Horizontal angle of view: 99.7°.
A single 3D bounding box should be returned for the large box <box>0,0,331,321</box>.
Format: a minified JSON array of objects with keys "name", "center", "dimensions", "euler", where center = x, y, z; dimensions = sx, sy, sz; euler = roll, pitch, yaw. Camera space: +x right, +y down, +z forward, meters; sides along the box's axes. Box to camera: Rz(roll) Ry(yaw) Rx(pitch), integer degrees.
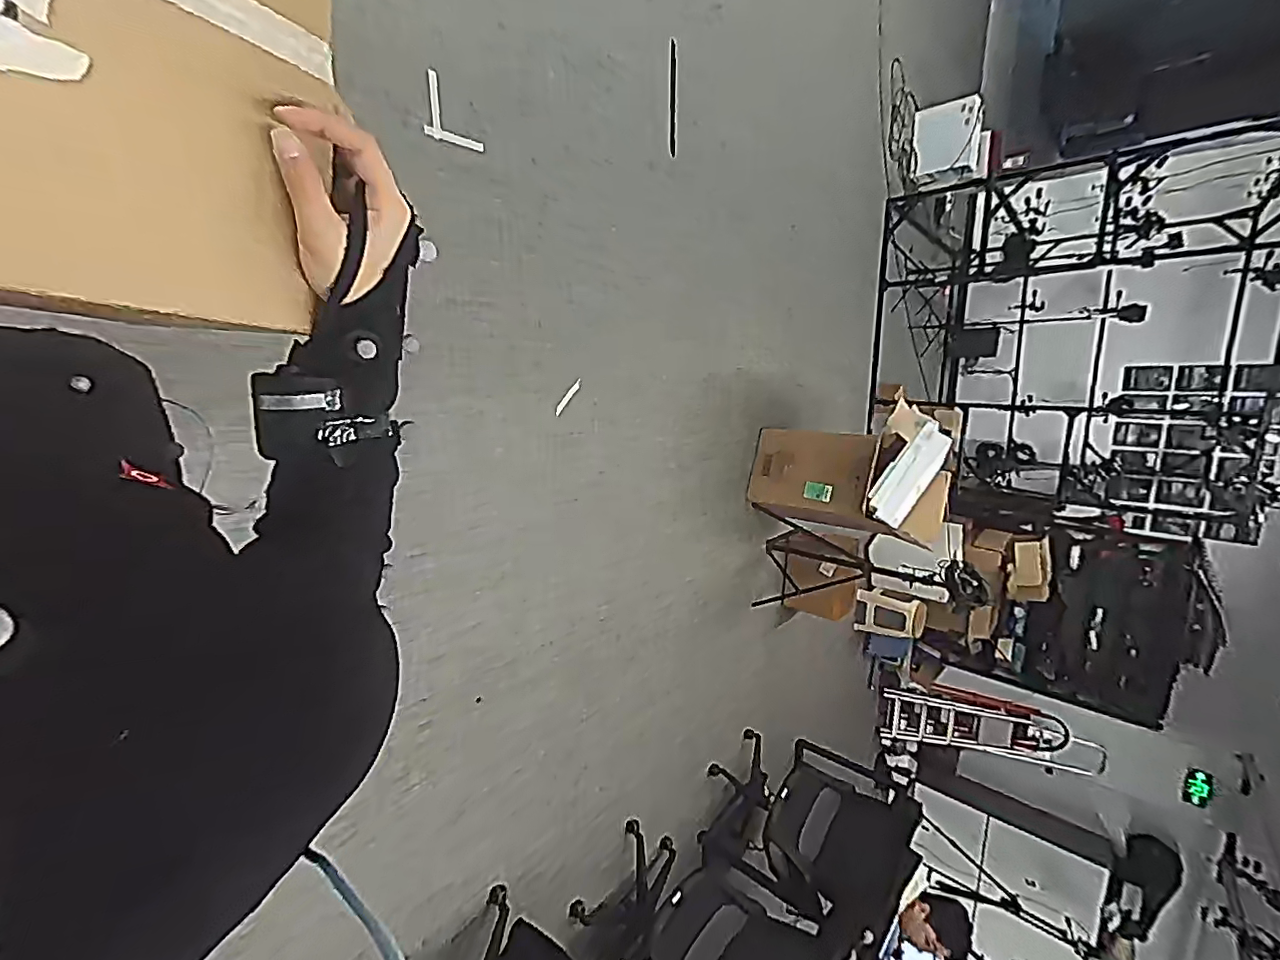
[{"name":"large box","center":[-0.429,-0.265,0.254],"dimensions":[0.408,0.320,0.320],"euler":[-6,107,-55]}]
